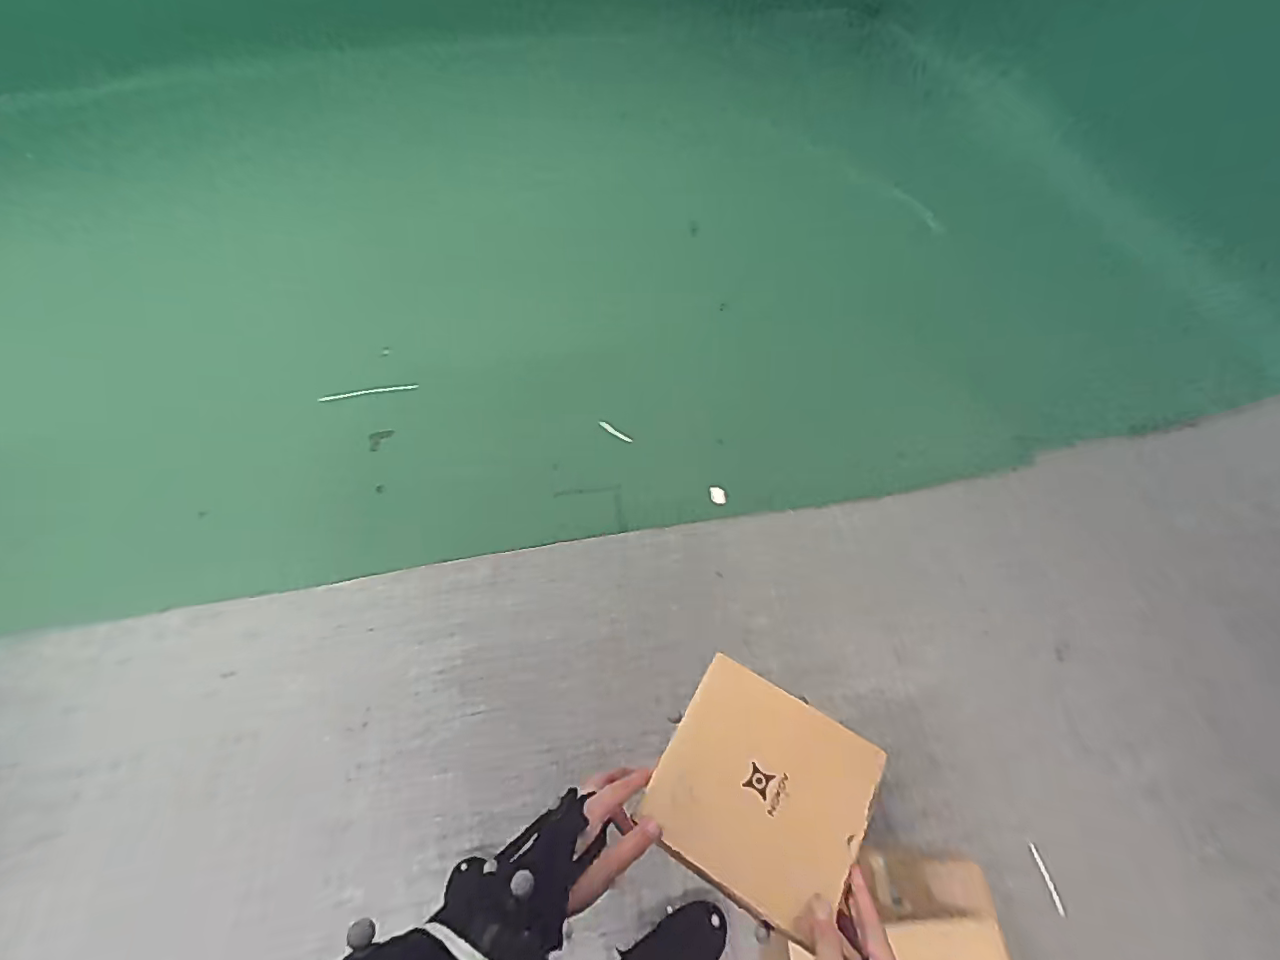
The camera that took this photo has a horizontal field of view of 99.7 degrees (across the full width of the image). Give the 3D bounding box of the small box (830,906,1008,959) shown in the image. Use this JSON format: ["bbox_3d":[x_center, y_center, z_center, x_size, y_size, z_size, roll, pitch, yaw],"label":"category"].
[{"bbox_3d":[0.356,0.657,0.673,0.168,0.176,0.179,-3,57,-2],"label":"small box"}]

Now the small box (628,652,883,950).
[{"bbox_3d":[0.099,0.306,0.532,0.179,0.176,0.168,28,59,14],"label":"small box"}]

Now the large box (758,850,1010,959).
[{"bbox_3d":[0.379,0.841,0.845,0.320,0.320,0.408,-4,59,1],"label":"large box"}]
